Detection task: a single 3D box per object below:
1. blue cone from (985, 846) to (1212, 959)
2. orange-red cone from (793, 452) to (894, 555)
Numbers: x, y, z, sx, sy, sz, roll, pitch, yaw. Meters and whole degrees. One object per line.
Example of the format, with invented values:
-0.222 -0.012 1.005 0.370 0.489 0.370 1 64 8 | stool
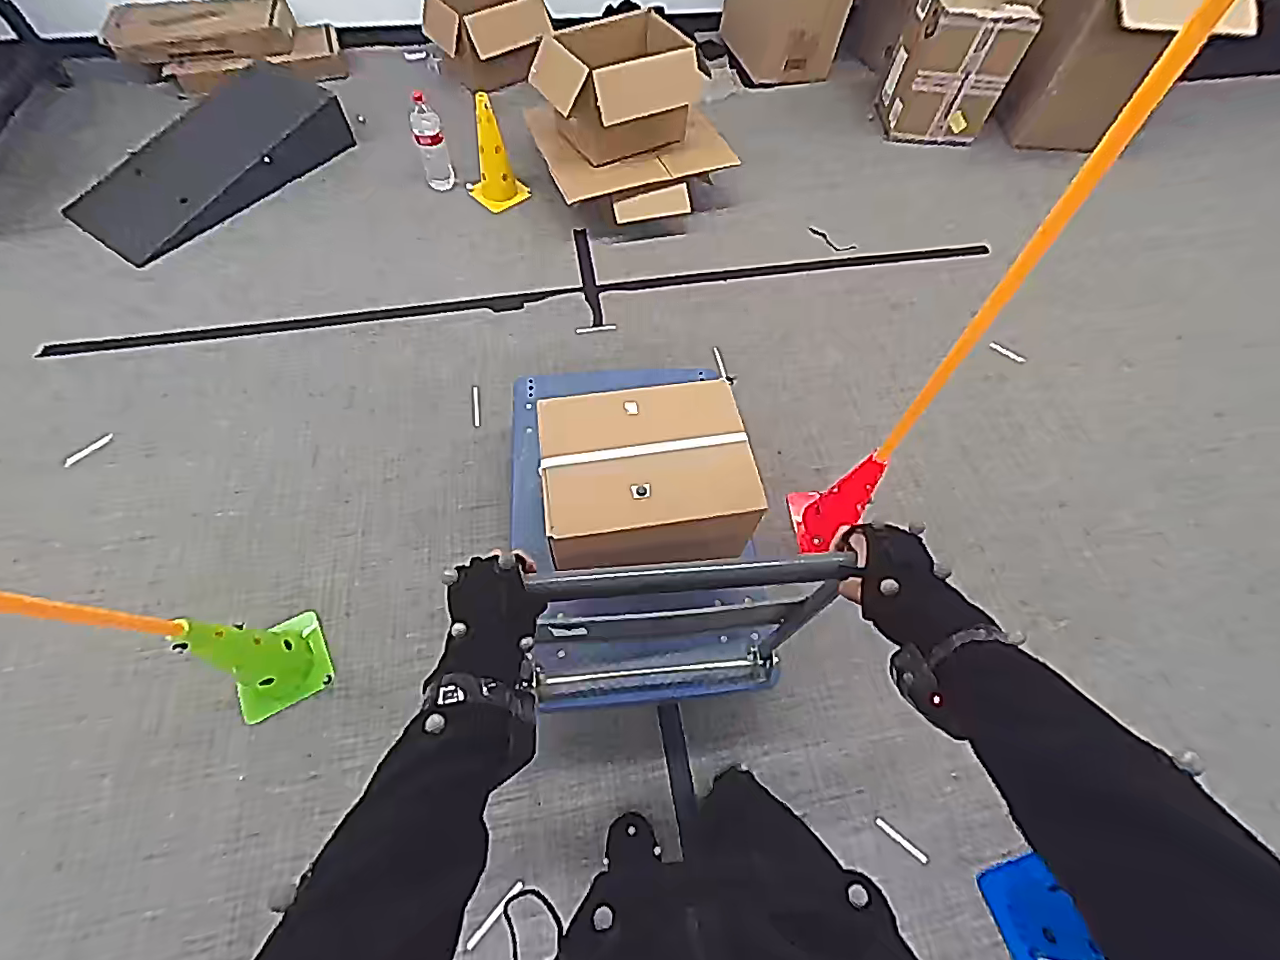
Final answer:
0.834 0.801 0.963 0.193 0.380 0.192 -12 61 -9 | blue cone
0.544 0.034 1.362 0.199 0.360 0.198 -2 62 -5 | orange-red cone
